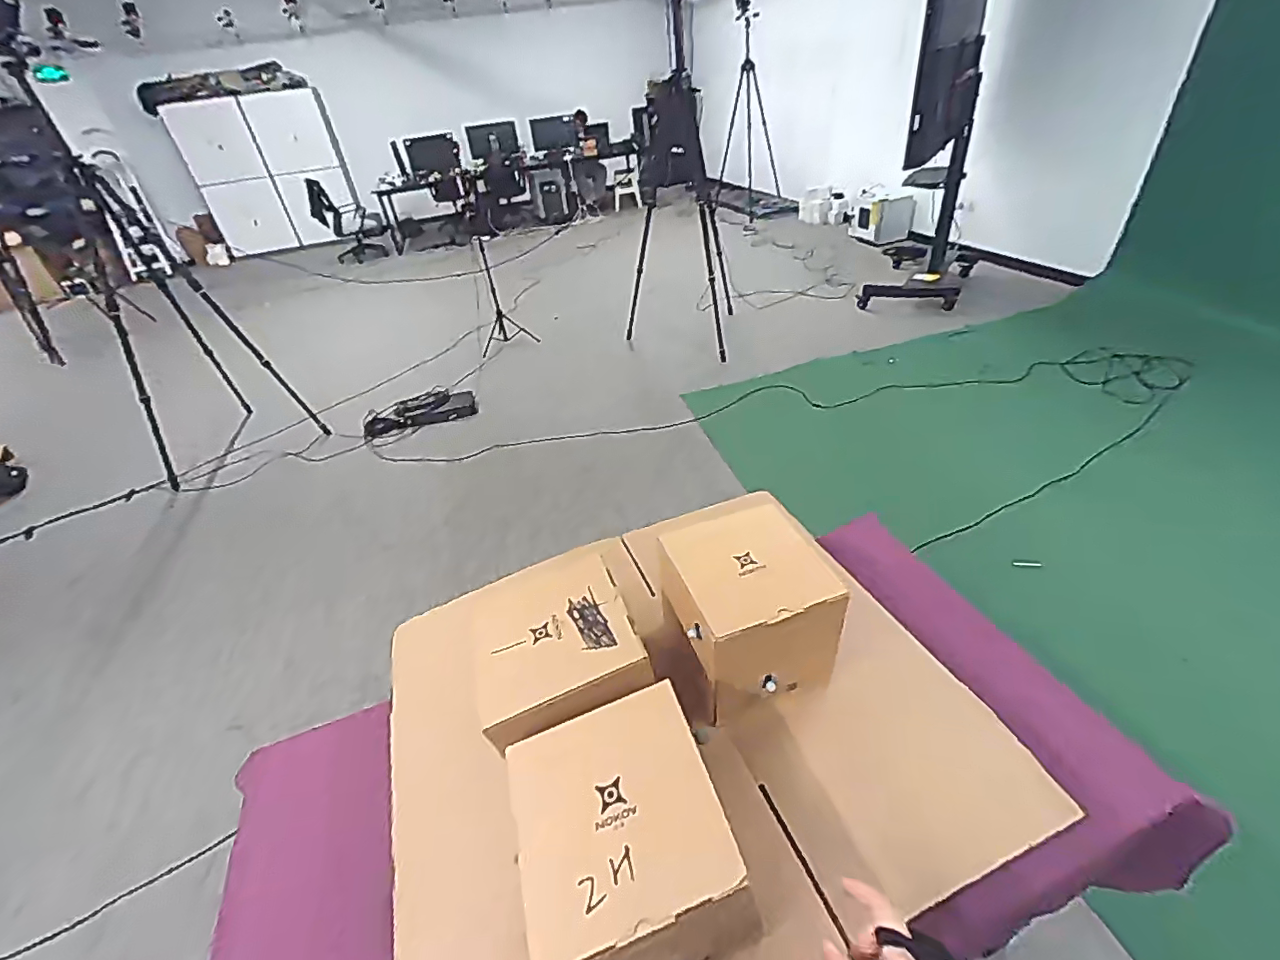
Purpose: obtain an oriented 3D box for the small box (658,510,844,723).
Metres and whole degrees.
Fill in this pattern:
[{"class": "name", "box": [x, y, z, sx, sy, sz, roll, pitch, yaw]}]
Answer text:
[{"class": "small box", "box": [0.129, 0.170, 0.693, 0.168, 0.176, 0.179, -15, 37, -13]}]
